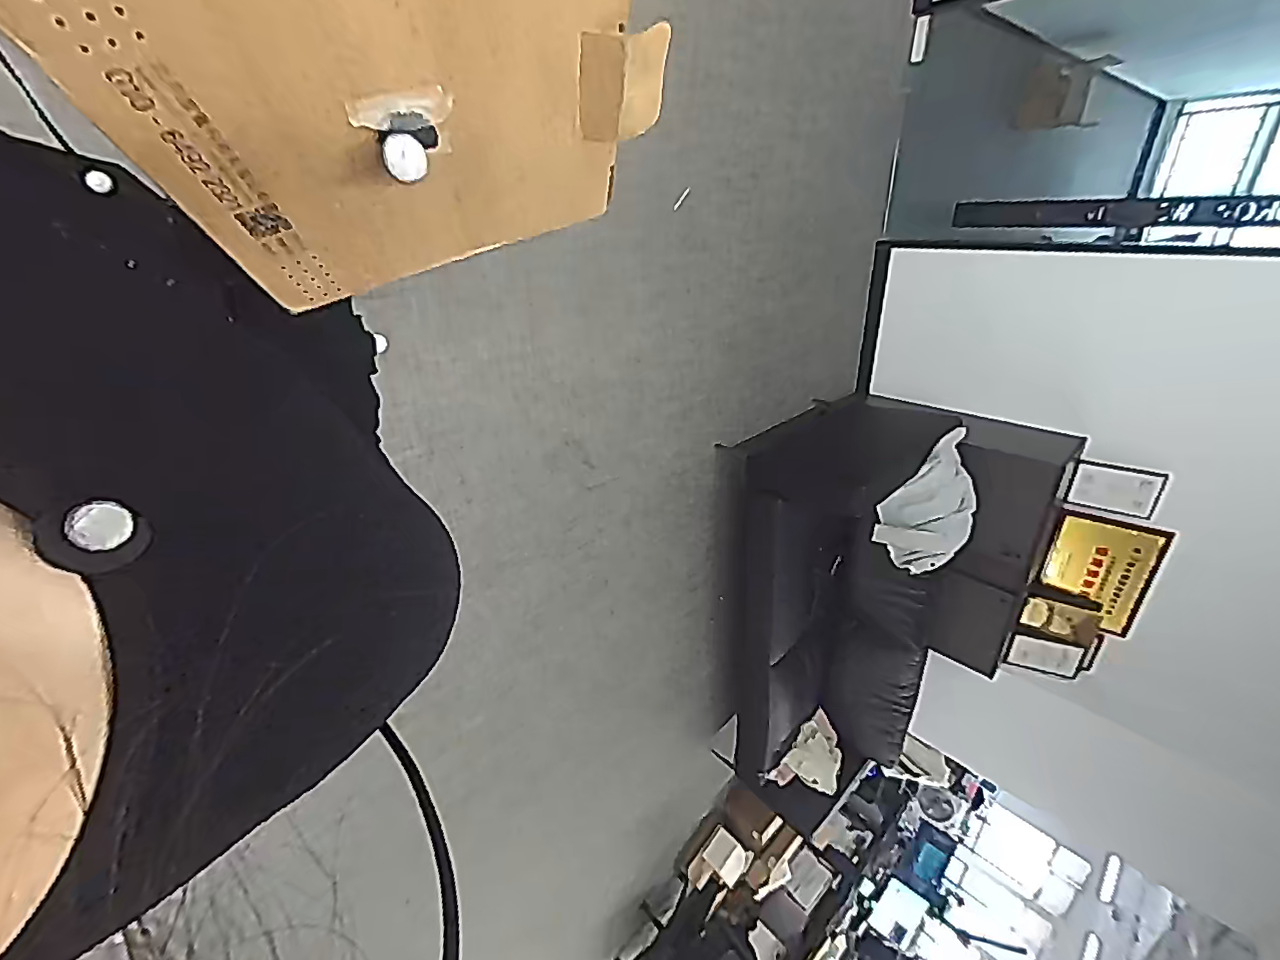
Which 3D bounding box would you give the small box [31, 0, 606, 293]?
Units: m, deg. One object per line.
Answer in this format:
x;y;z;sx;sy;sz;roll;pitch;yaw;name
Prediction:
-0.124;-0.205;0.213;0.176;0.168;0.179;-23;85;-12;small box
